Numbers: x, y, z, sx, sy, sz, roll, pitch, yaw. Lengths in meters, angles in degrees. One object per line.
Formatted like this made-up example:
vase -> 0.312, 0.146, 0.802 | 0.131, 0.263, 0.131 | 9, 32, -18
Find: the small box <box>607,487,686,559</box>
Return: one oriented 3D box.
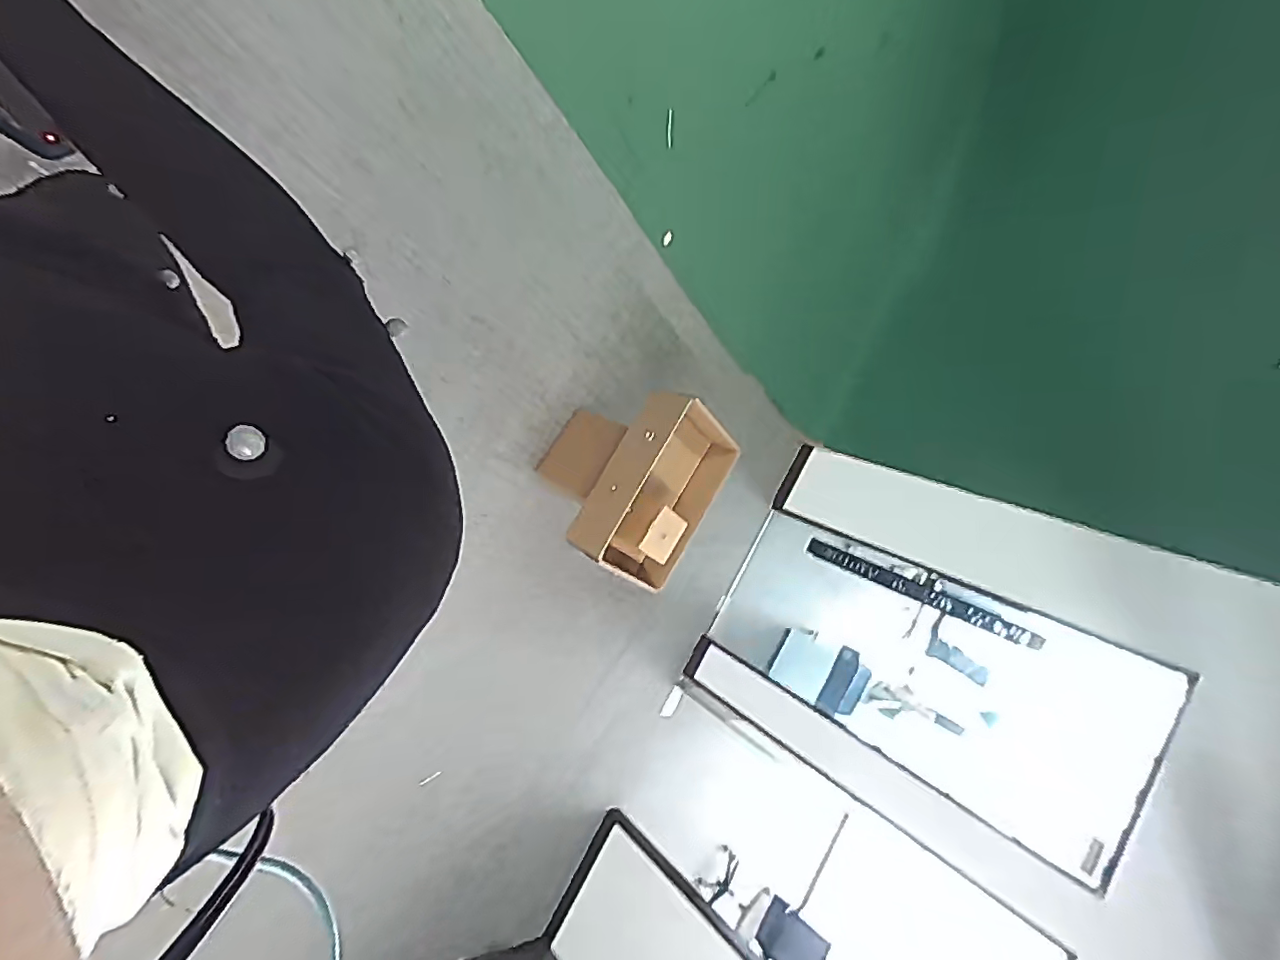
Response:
small box -> 0.020, 0.144, 1.867 | 0.179, 0.176, 0.168 | 39, 80, -49
